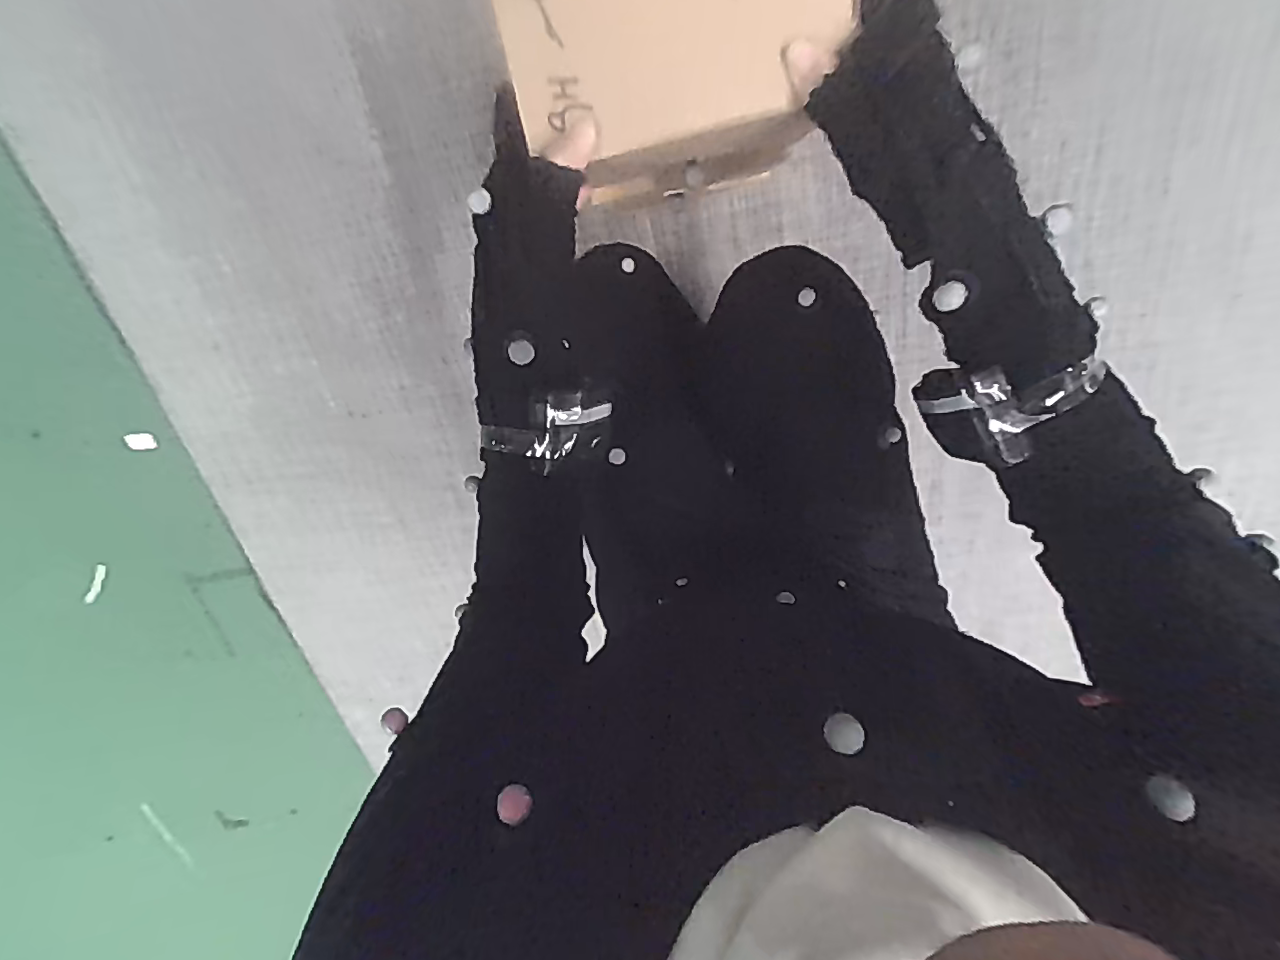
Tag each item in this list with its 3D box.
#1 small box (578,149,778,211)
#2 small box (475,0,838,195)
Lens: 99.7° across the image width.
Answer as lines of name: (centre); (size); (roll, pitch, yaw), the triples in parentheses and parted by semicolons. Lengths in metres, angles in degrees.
small box: (0.022, -0.348, 0.478); (0.168, 0.176, 0.179); (-7, 115, 9)
small box: (0.009, -0.283, 0.329); (0.179, 0.176, 0.168); (-7, 113, 9)
